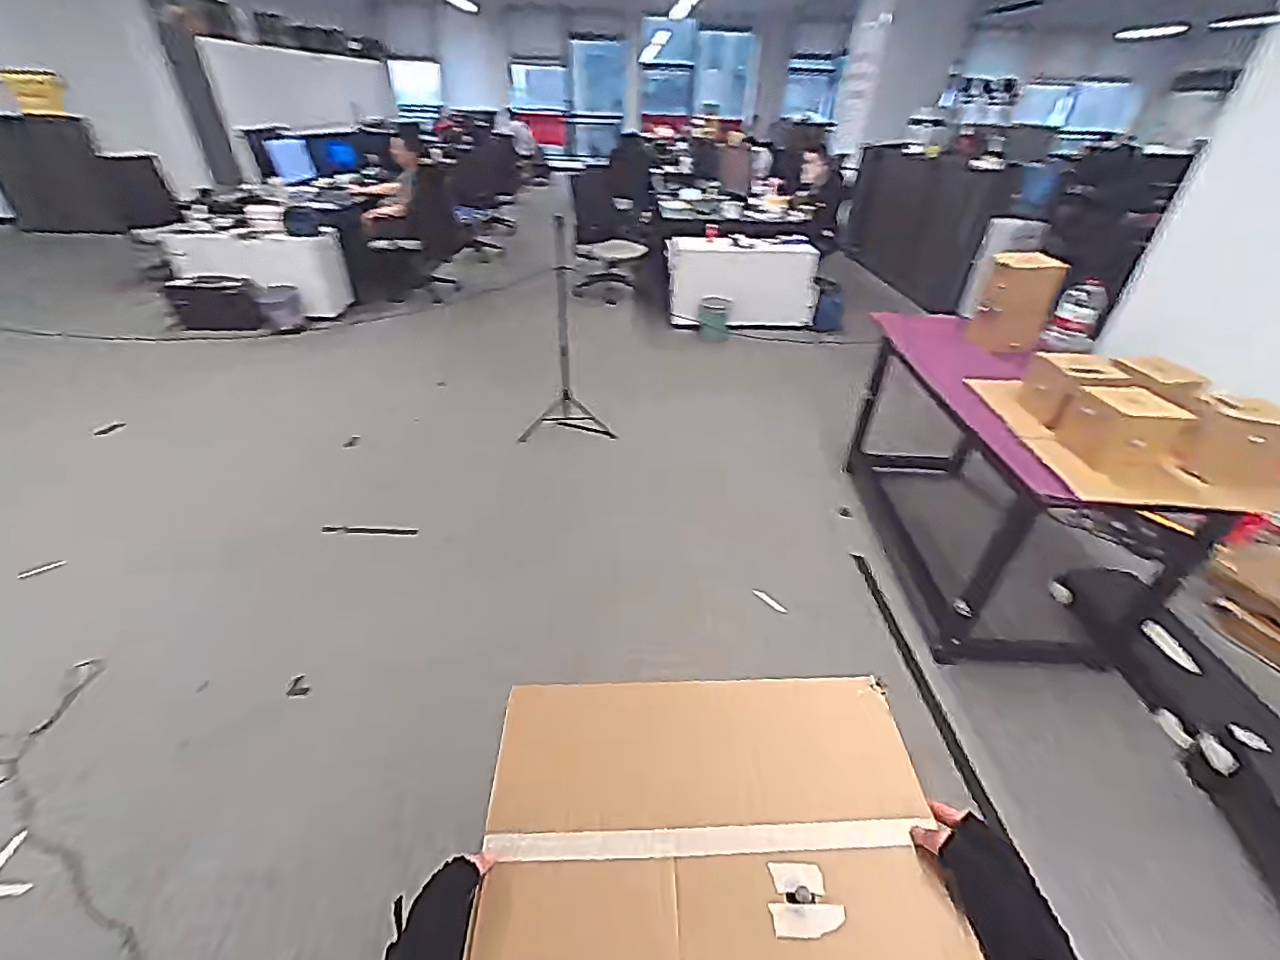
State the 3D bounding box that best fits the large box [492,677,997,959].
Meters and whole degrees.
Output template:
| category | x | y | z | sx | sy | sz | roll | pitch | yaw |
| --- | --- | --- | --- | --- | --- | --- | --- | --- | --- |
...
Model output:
| category | x | y | z | sx | sy | sz | roll | pitch | yaw |
| --- | --- | --- | --- | --- | --- | --- | --- | --- | --- |
| large box | 0.078 | 0.438 | 0.581 | 0.408 | 0.320 | 0.320 | 0 | 39 | -1 |
